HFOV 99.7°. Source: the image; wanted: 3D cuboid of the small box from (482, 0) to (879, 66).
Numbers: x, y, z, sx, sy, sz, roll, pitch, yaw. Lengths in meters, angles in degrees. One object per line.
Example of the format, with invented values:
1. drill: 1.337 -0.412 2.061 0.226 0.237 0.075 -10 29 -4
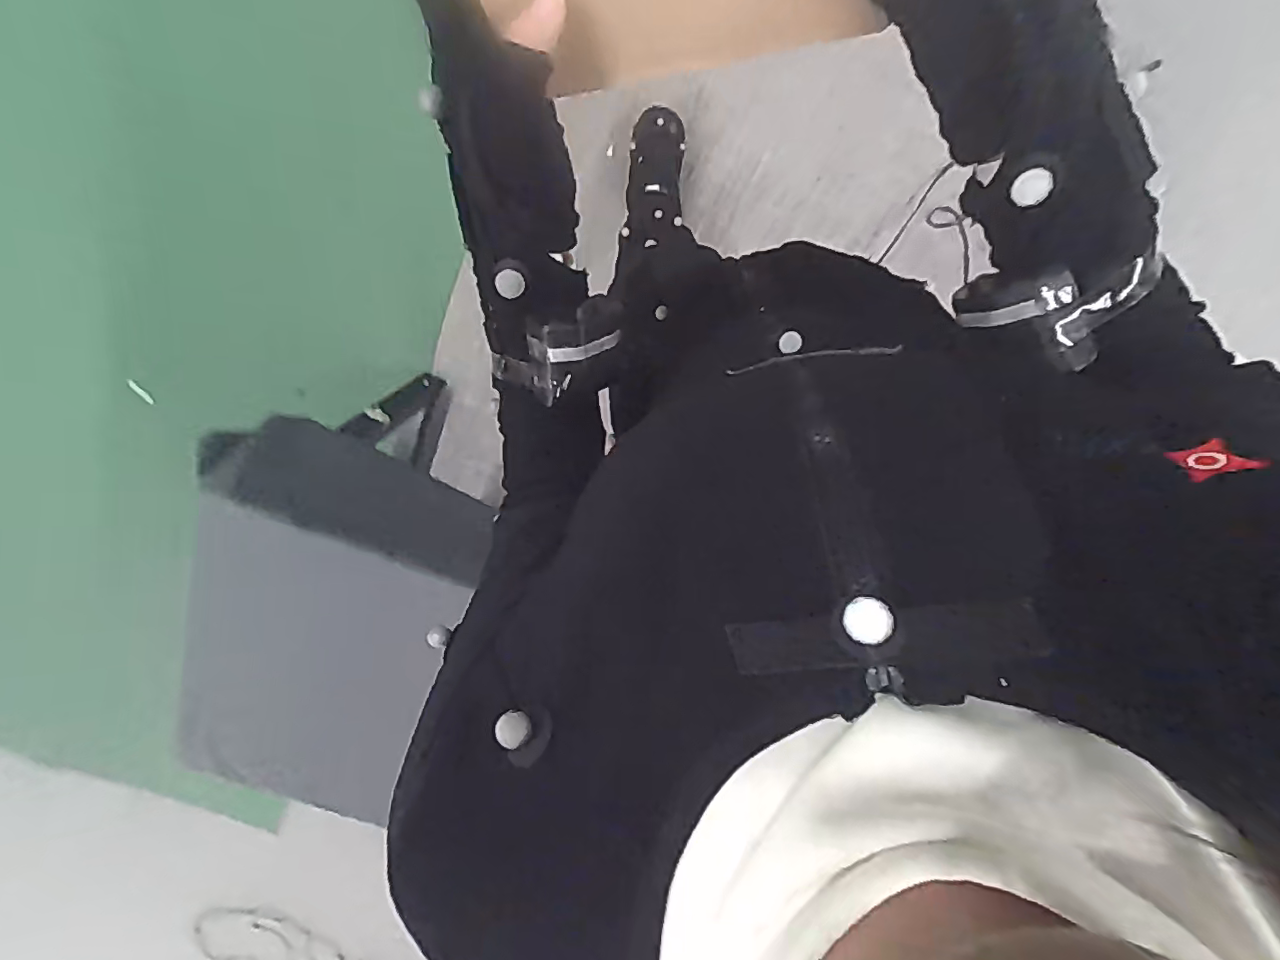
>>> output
1. small box: 0.015 -0.309 0.214 0.179 0.176 0.168 4 152 15
